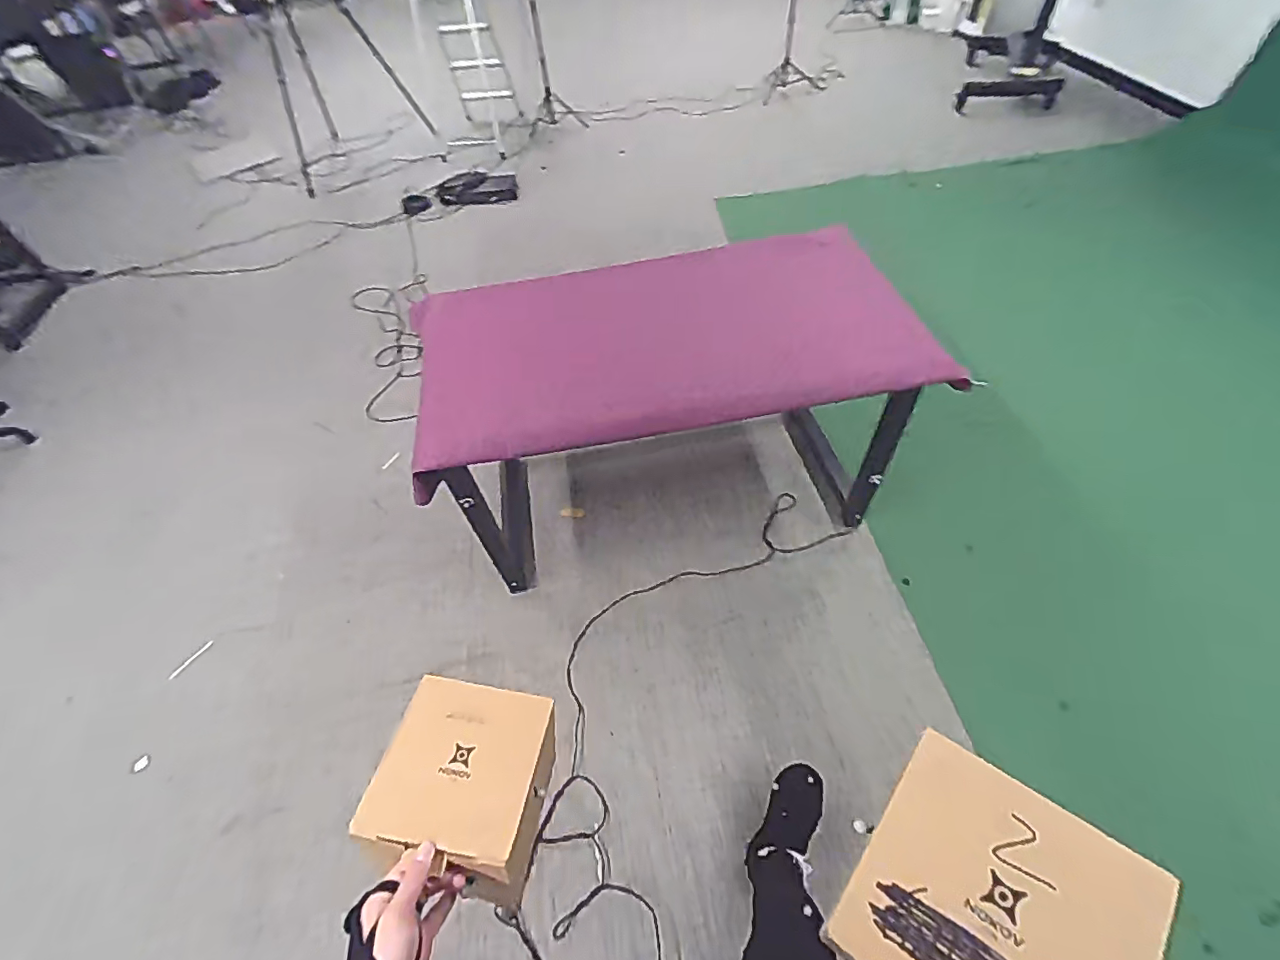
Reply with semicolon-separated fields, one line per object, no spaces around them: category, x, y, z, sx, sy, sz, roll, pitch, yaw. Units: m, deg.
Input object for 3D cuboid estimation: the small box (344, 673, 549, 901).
small box;-0.207;0.364;0.642;0.168;0.176;0.179;10;39;3
